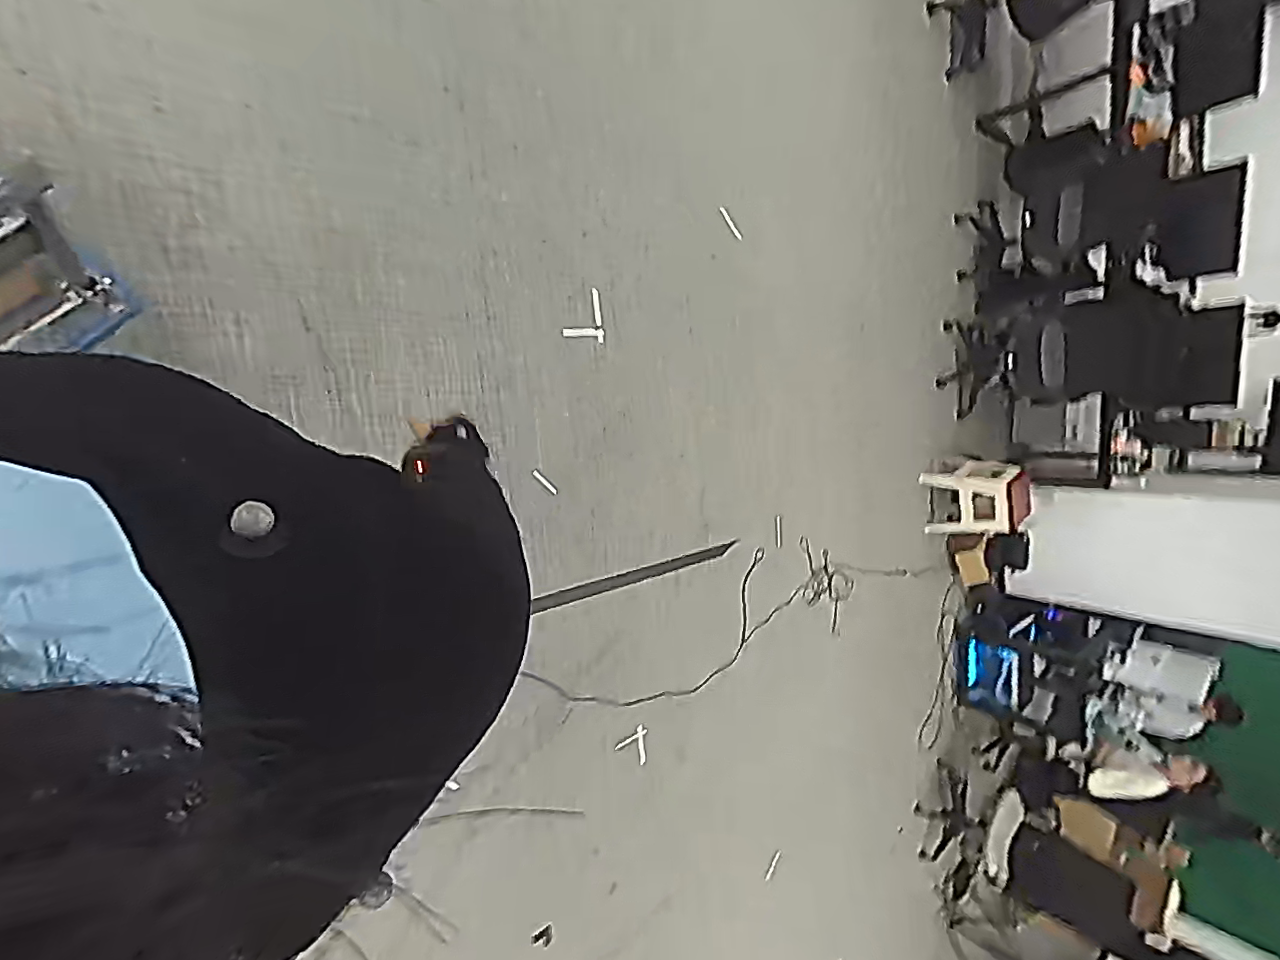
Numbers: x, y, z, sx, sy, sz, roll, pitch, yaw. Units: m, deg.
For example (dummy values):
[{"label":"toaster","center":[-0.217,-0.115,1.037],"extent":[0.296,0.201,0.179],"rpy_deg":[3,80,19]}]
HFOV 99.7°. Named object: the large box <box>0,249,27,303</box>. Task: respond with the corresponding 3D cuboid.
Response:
[{"label":"large box","center":[-1.104,-0.273,0.628],"extent":[0.320,0.320,0.408],"rpy_deg":[50,62,-30]}]
